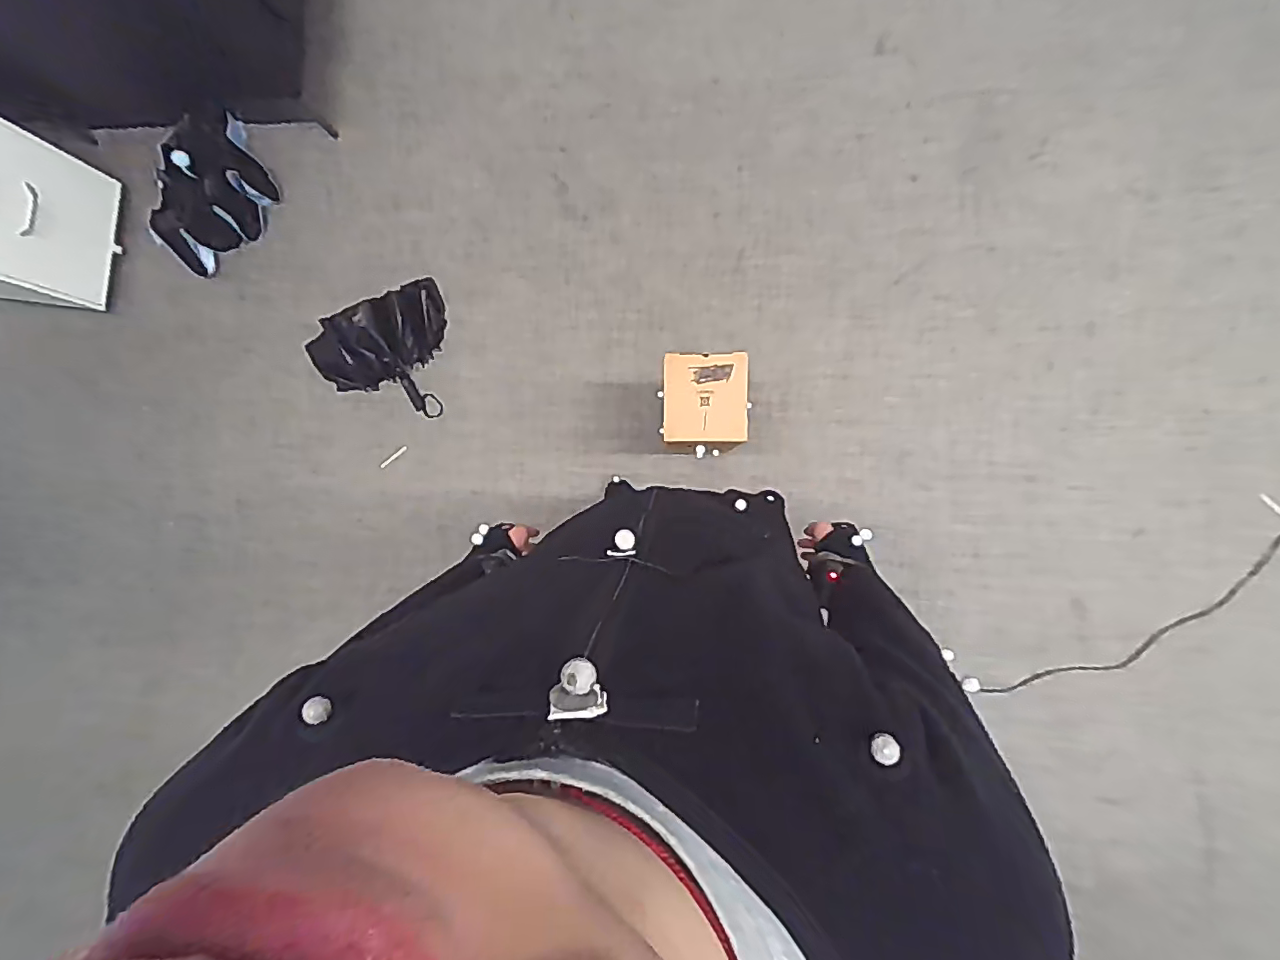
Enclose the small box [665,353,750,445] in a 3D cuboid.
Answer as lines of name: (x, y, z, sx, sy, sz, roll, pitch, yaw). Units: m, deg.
small box: (0.136, -0.164, 1.137, 0.168, 0.176, 0.179, 0, 93, 5)
